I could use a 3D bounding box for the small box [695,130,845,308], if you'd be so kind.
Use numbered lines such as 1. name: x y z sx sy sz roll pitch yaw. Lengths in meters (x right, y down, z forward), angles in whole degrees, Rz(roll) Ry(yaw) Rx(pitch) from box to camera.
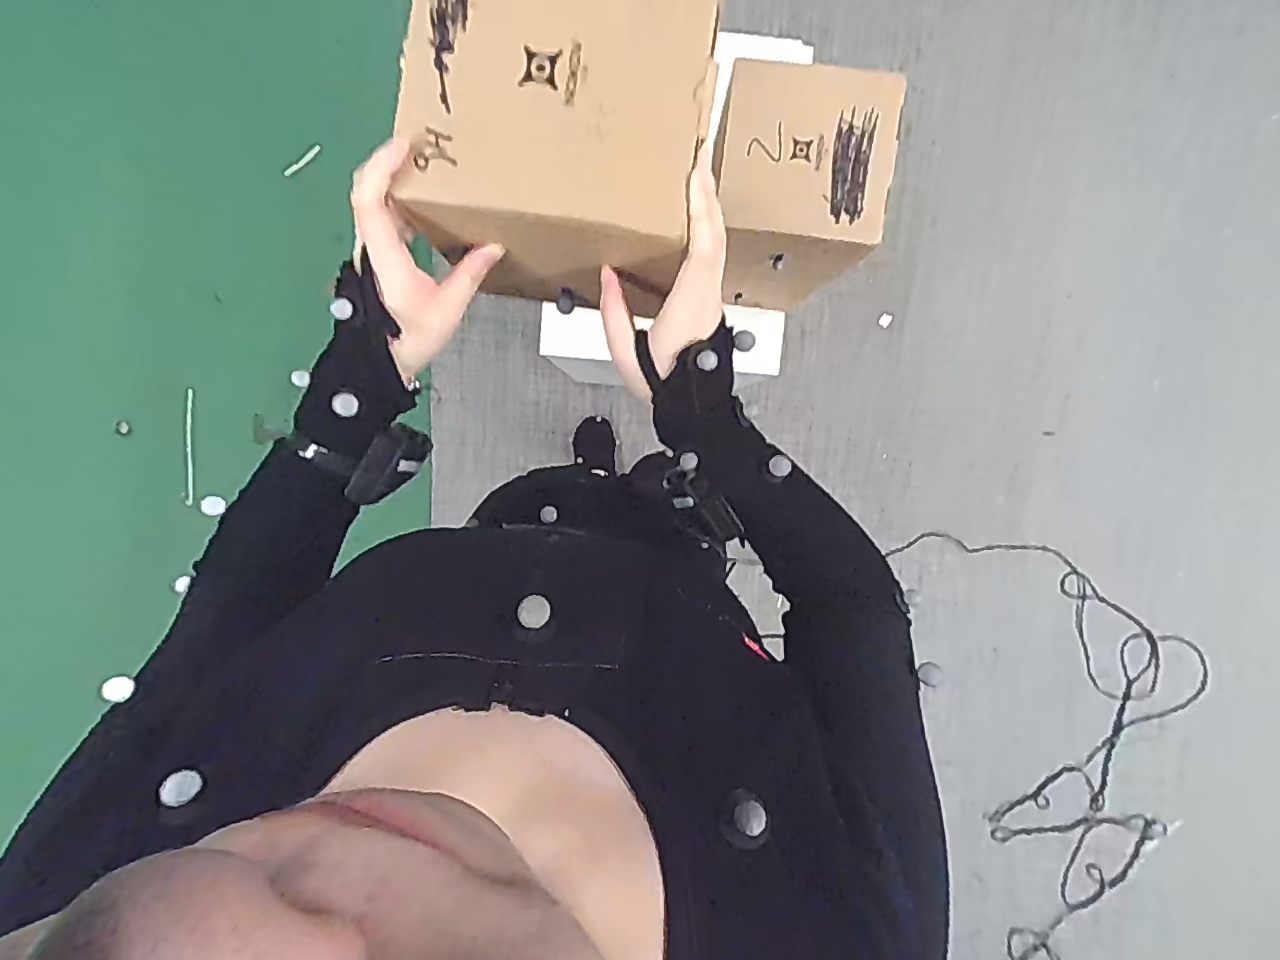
1. small box: 0.176 -0.364 0.785 0.168 0.176 0.179 7 96 0

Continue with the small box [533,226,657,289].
1. small box: -0.054 -0.391 0.779 0.168 0.176 0.179 5 97 -2
